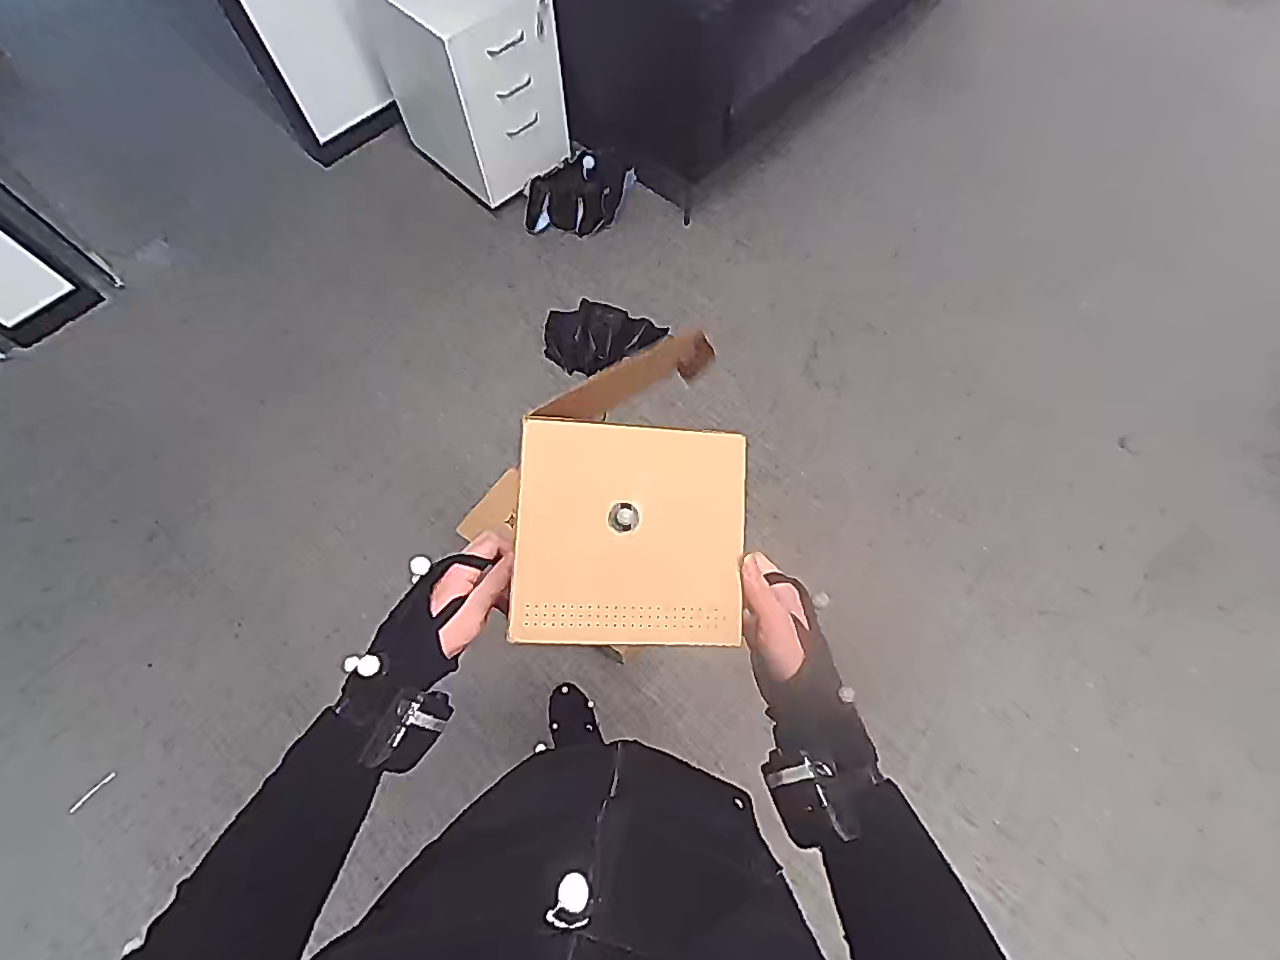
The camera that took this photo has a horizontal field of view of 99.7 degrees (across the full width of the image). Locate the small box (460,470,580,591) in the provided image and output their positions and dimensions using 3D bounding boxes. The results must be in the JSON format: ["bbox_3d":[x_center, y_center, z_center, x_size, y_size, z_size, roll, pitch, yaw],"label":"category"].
[{"bbox_3d":[-0.245,0.113,1.158,0.168,0.176,0.179,33,75,15],"label":"small box"}]
